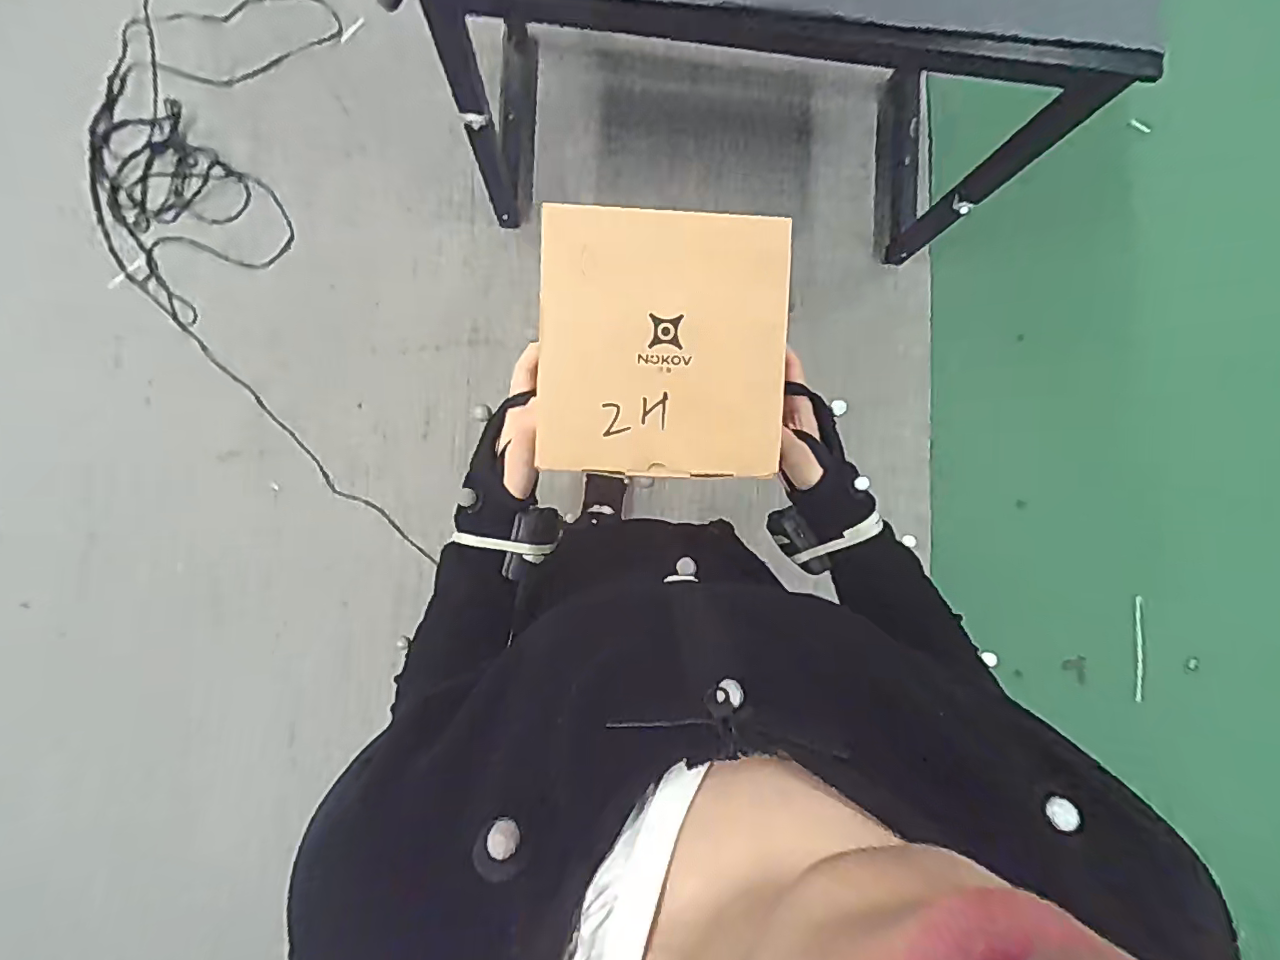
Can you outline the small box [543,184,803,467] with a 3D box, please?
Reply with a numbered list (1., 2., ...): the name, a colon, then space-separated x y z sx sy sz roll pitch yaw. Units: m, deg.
1. small box: 0.017 -0.103 0.431 0.168 0.176 0.179 2 93 -3
